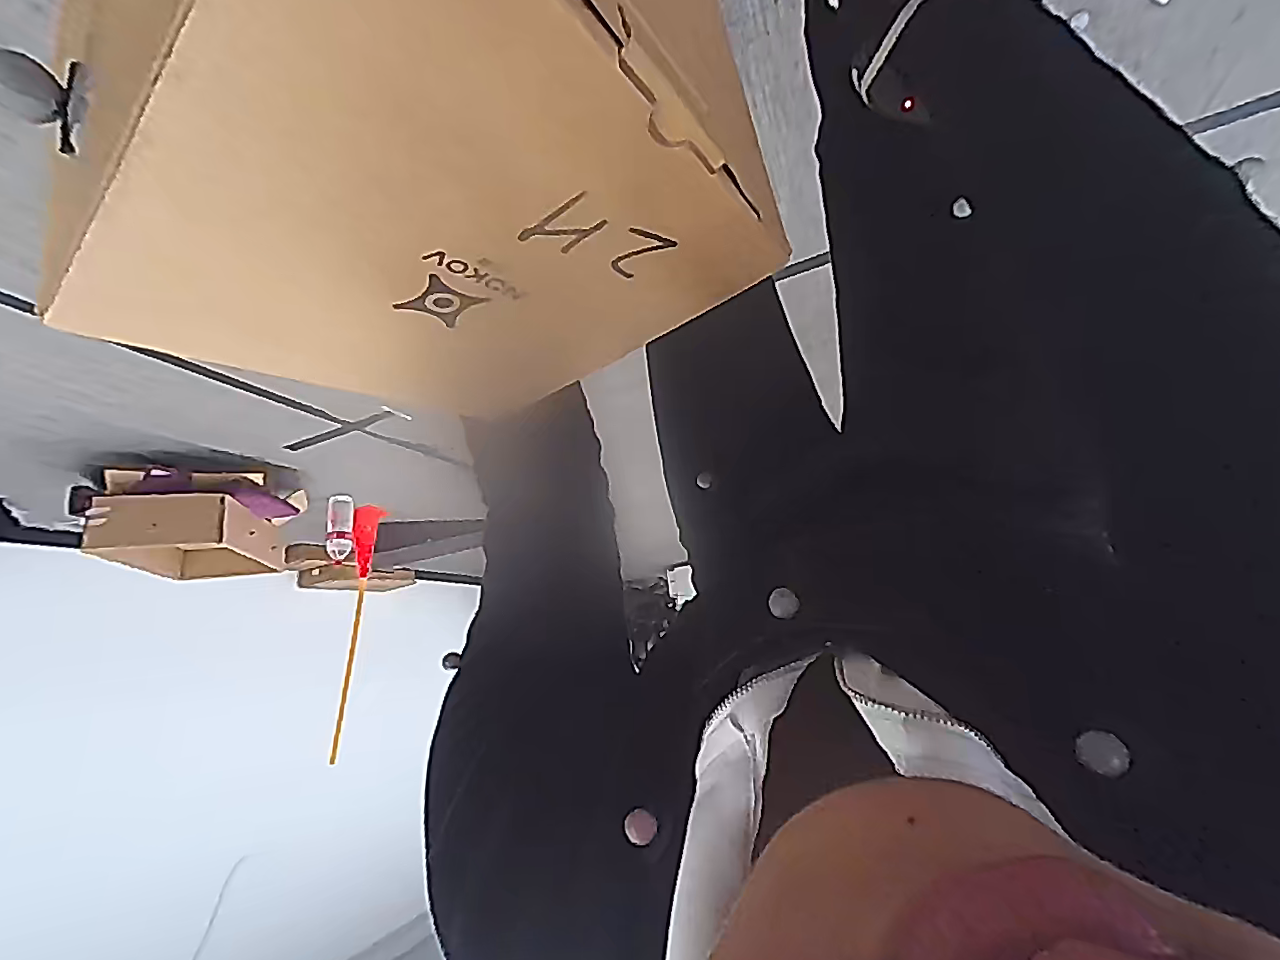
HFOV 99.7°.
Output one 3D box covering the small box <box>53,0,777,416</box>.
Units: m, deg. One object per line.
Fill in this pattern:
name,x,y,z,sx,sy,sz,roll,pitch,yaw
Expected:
small box,-0.075,-0.144,0.201,0.179,0.176,0.168,-21,164,32
